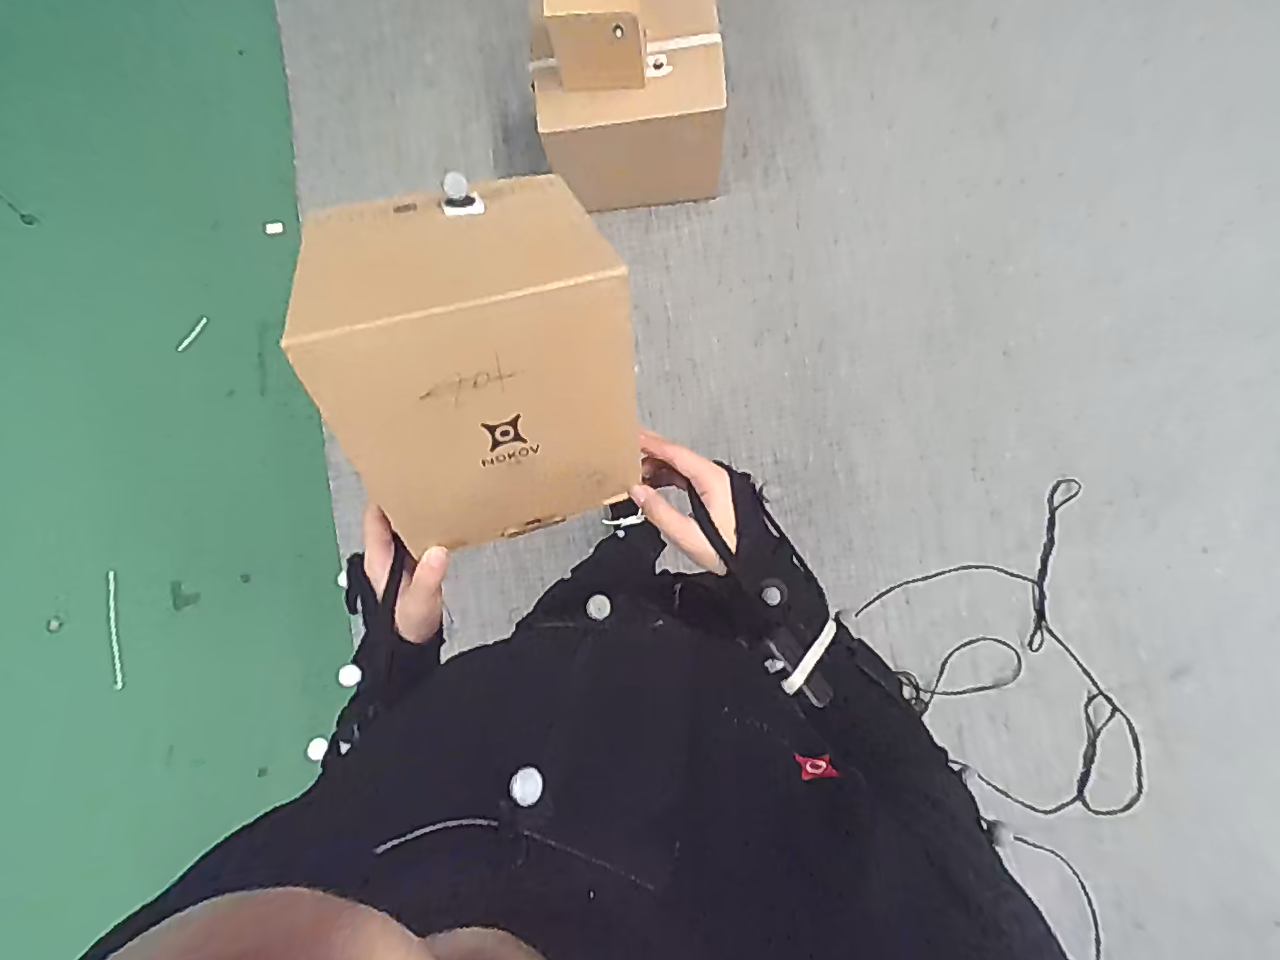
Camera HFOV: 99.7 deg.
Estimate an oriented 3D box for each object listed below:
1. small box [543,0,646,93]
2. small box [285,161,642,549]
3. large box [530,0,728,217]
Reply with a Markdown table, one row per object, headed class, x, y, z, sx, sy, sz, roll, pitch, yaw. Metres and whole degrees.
| class | x | y | z | sx | sy | sz | roll | pitch | yaw |
| --- | --- | --- | --- | --- | --- | --- | --- | --- | --- |
| small box | -0.081 | -0.895 | 1.057 | 0.179 | 0.176 | 0.168 | 1 | 84 | 4 |
| small box | -0.105 | -0.087 | 0.369 | 0.168 | 0.179 | 0.176 | -17 | 48 | -11 |
| large box | -0.021 | -0.876 | 1.296 | 0.408 | 0.320 | 0.320 | -5 | 85 | 2 |
